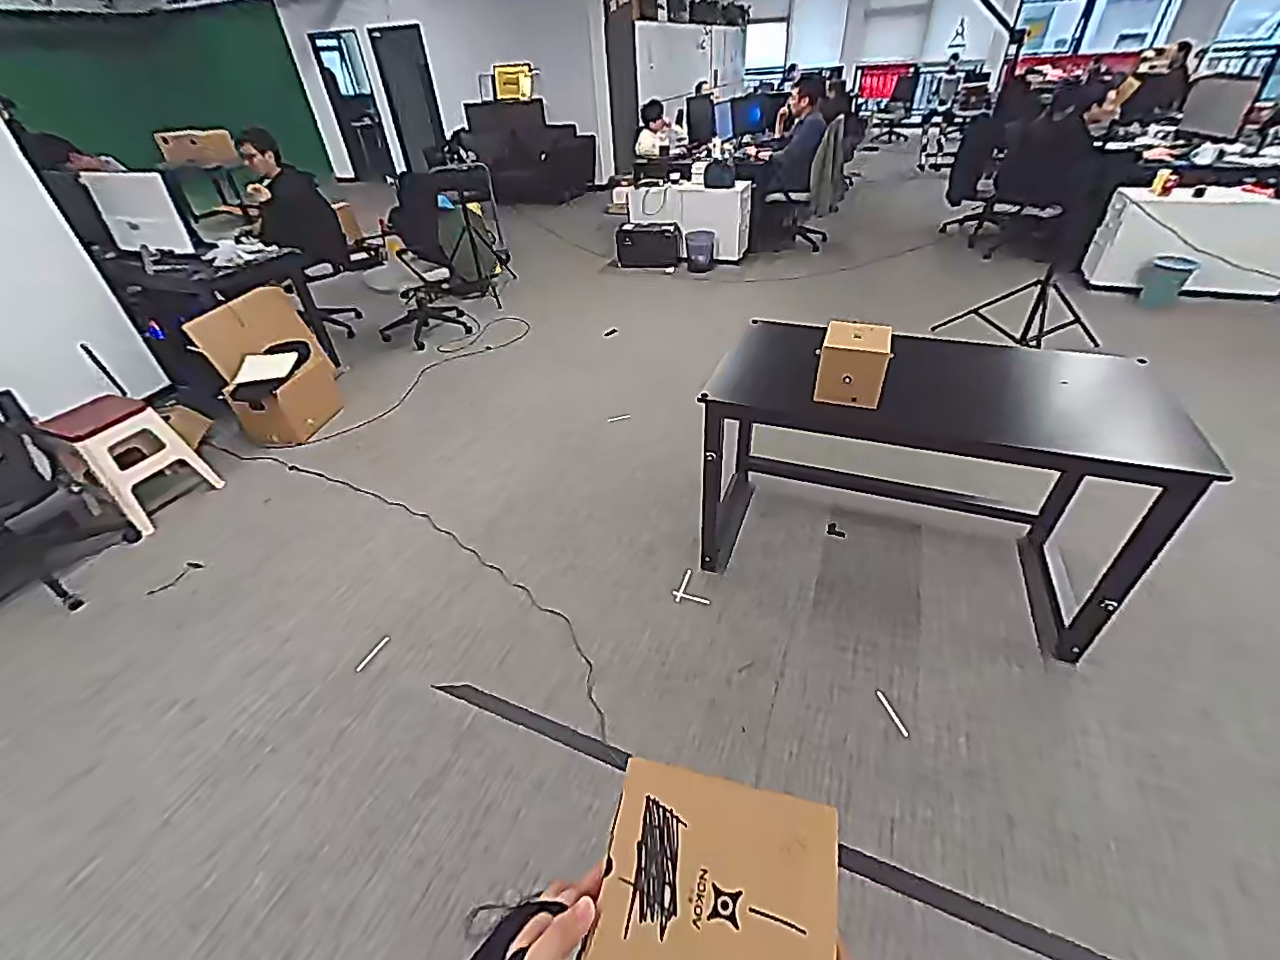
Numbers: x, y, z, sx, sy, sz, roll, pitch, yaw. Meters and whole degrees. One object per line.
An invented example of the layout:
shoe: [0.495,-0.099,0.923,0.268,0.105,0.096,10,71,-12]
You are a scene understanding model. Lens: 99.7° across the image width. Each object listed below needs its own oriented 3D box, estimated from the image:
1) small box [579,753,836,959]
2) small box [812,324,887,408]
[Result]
small box: [0.064,0.365,0.466,0.179,0.176,0.168,7,48,13]
small box: [0.582,-0.317,1.509,0.168,0.176,0.179,12,40,18]
